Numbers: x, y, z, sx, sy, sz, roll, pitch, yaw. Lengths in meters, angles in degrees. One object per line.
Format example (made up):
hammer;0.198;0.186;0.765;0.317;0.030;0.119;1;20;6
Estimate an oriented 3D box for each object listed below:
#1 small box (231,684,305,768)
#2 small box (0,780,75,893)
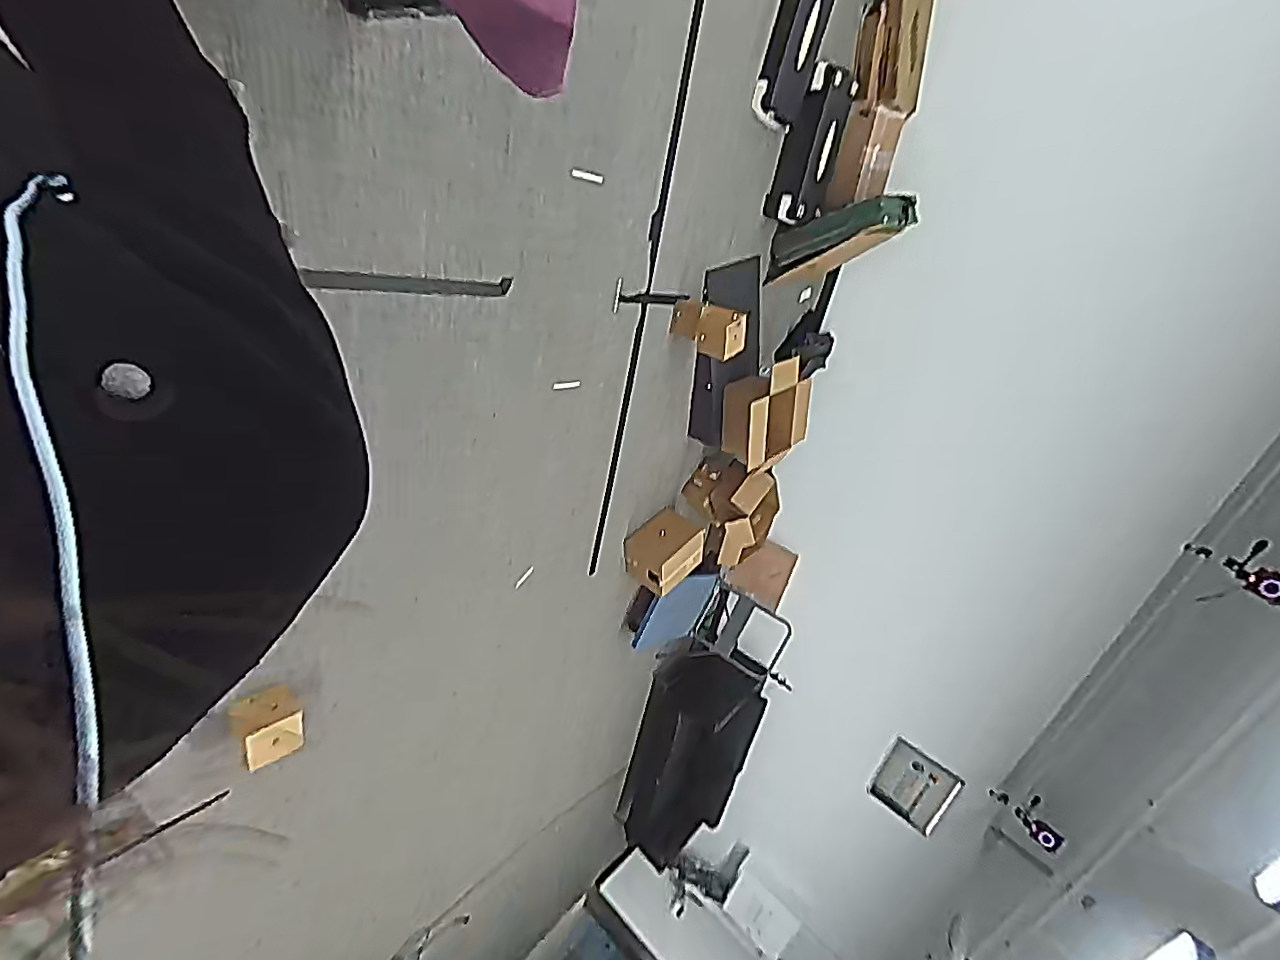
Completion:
small box;-1.289;0.840;1.872;0.168;0.176;0.179;-18;131;-48
small box;-1.650;0.941;1.438;0.168;0.176;0.179;-15;129;-48
